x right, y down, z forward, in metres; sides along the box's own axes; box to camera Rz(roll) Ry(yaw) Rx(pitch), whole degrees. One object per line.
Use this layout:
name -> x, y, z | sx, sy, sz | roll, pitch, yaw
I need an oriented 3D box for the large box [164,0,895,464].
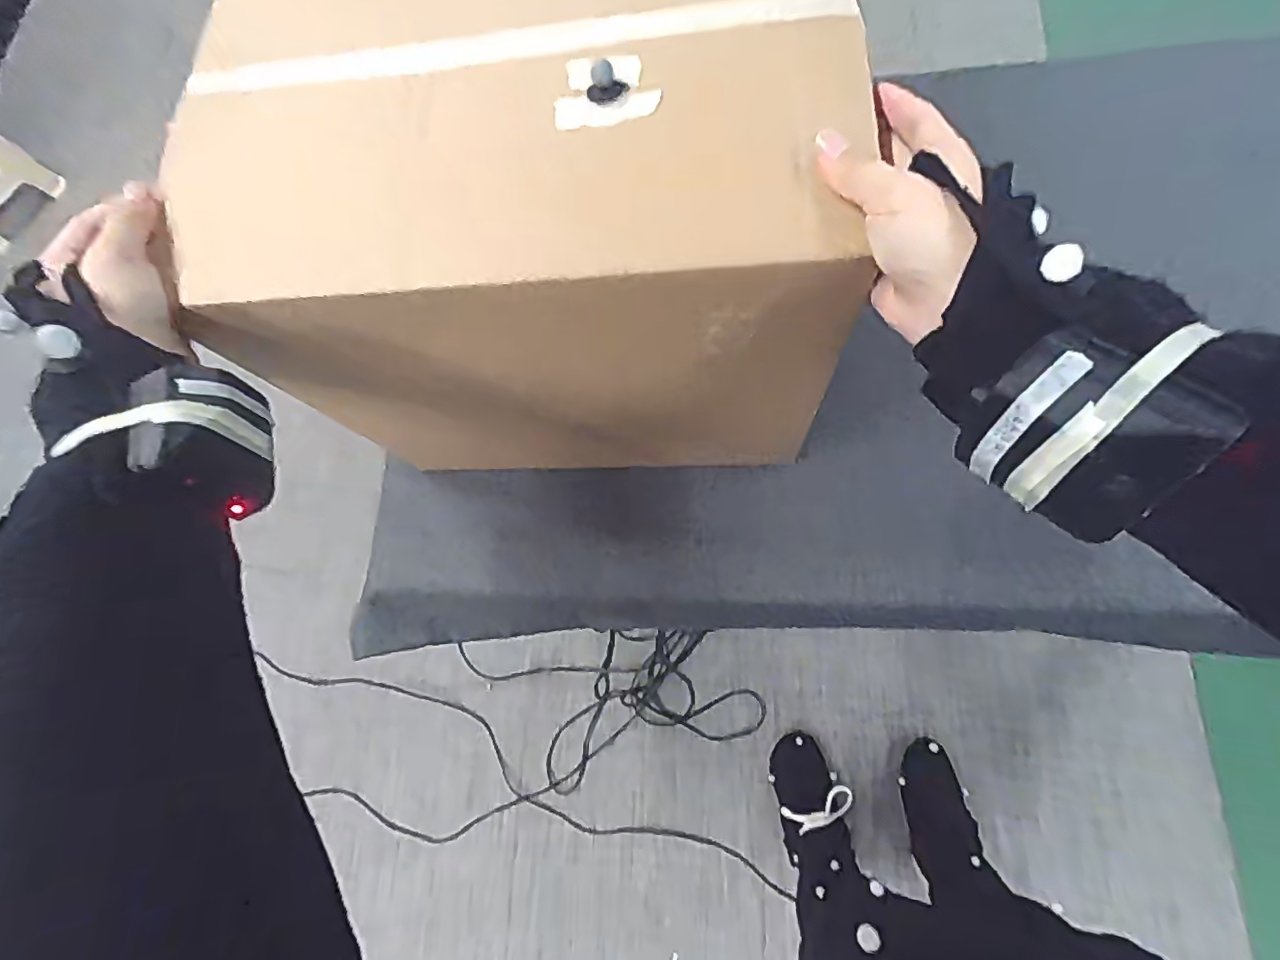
large box -> -0.056, -0.209, 0.467 | 0.408, 0.320, 0.320 | -1, 74, 6
